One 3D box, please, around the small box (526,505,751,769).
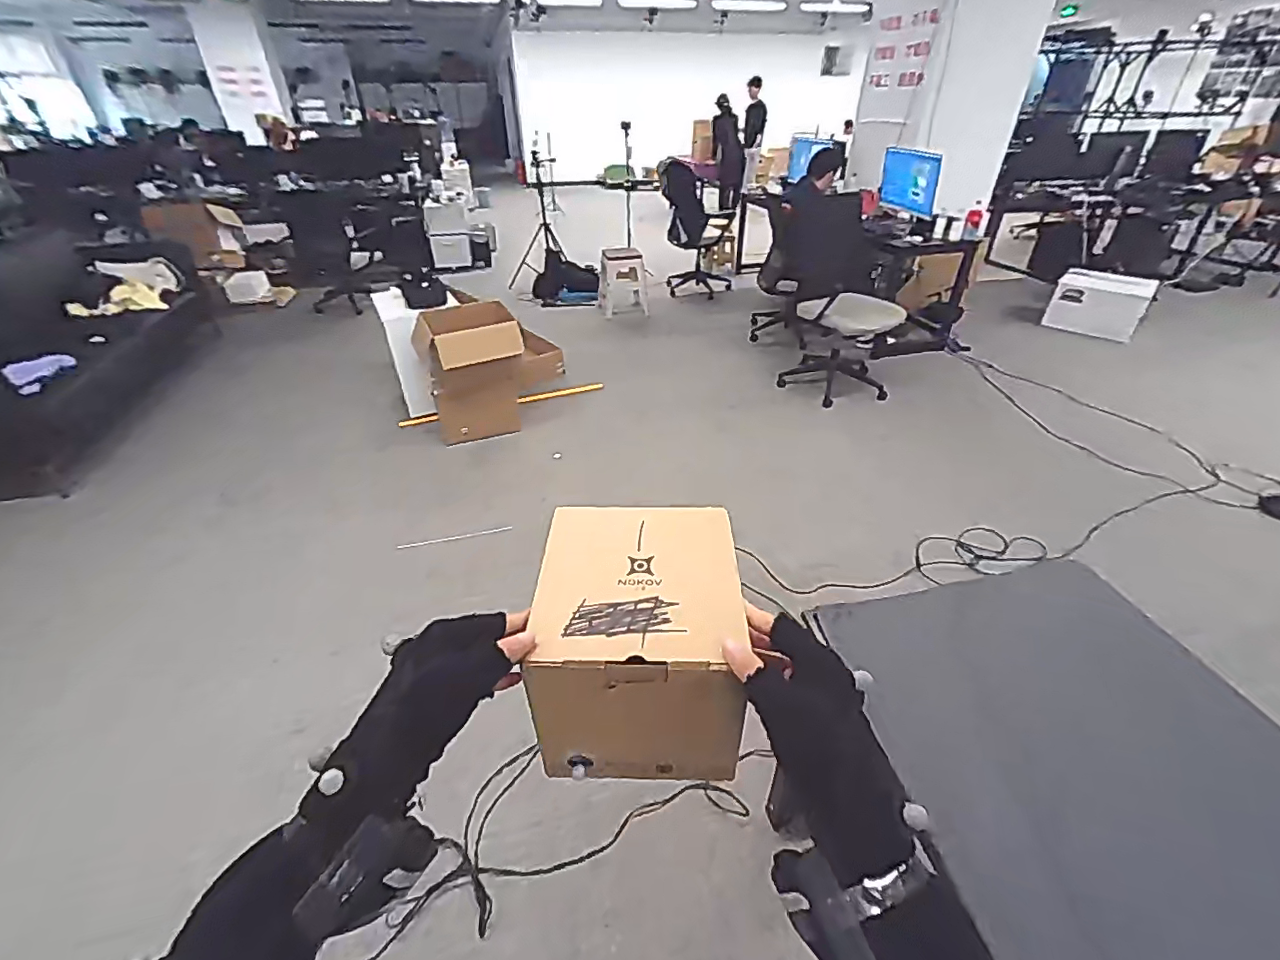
[{"bbox_3d":[0.003,0.141,0.496,0.168,0.176,0.179,0,36,1],"label":"small box"}]
